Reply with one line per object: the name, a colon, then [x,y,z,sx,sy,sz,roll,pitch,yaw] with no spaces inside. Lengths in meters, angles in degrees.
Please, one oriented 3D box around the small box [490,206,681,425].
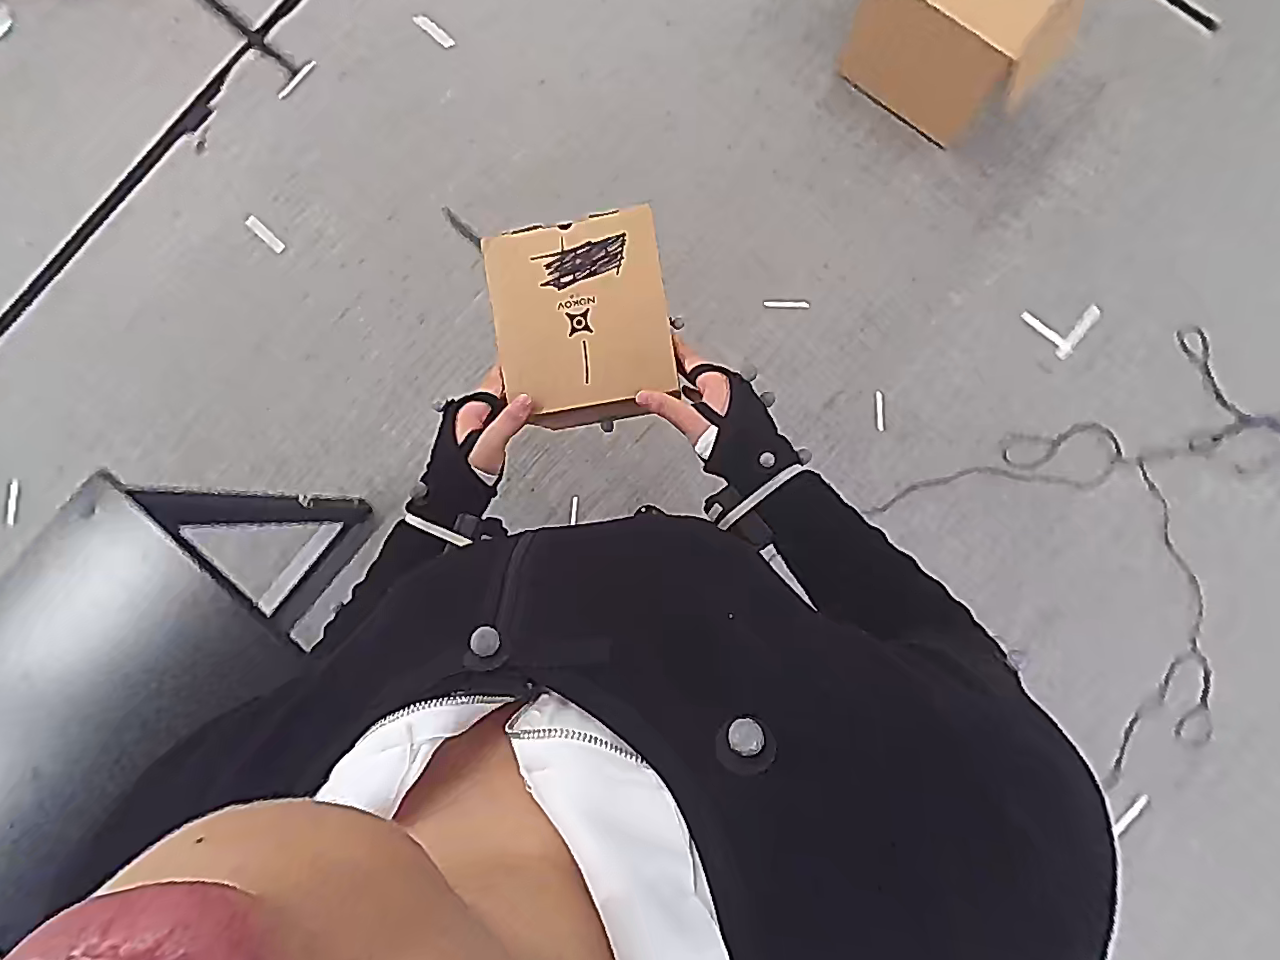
small box: [-0.047,-0.162,0.588,0.168,0.176,0.179,-8,91,5]
